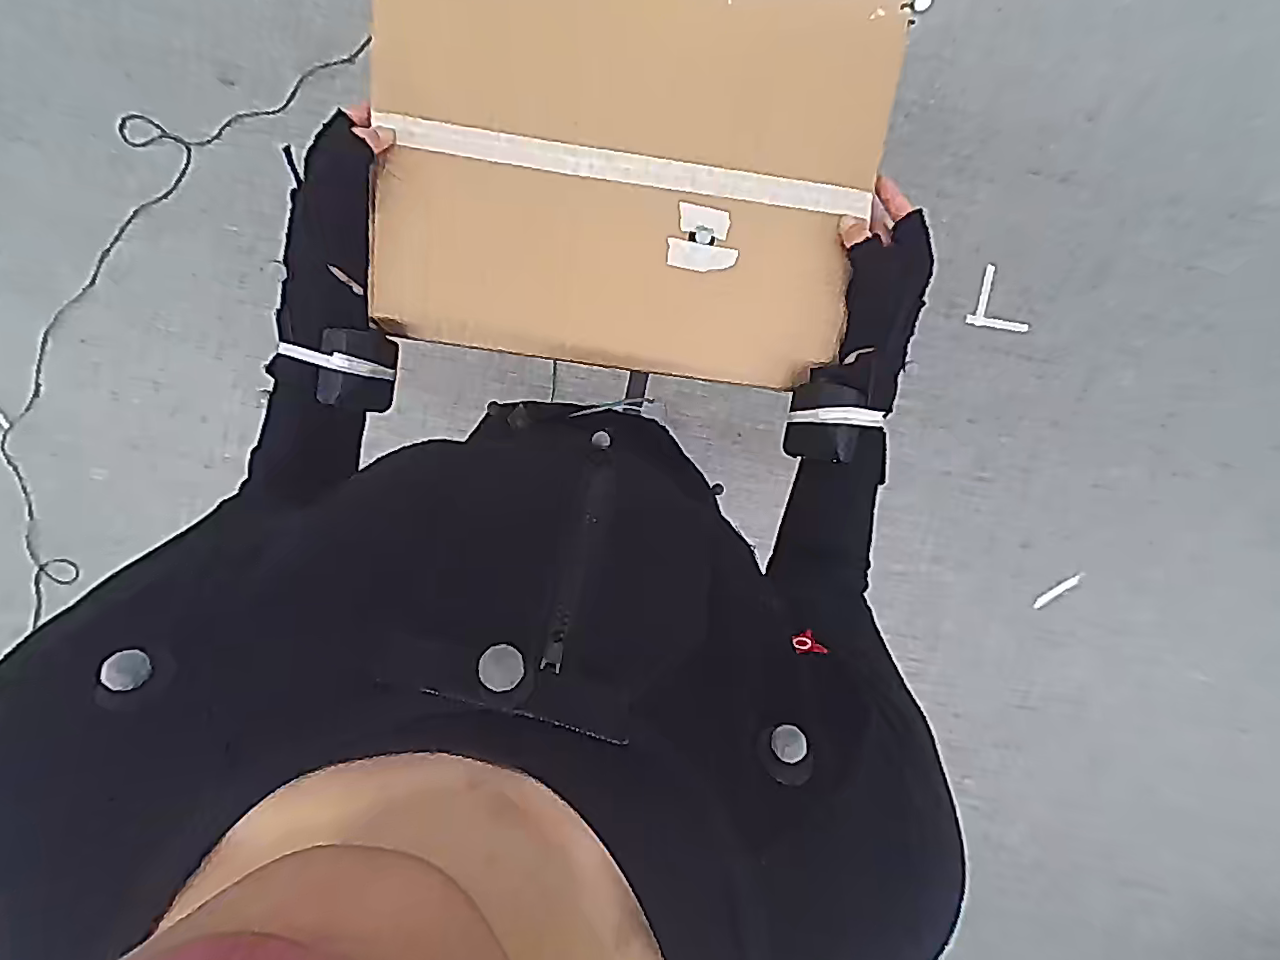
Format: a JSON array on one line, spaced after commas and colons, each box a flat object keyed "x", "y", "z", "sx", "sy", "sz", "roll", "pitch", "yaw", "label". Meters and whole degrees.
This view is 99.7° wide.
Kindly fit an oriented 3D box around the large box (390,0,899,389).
[{"x": -0.013, "y": -0.285, "z": 0.597, "sx": 0.408, "sy": 0.320, "sz": 0.320, "roll": 7, "pitch": 104, "yaw": -5, "label": "large box"}]
